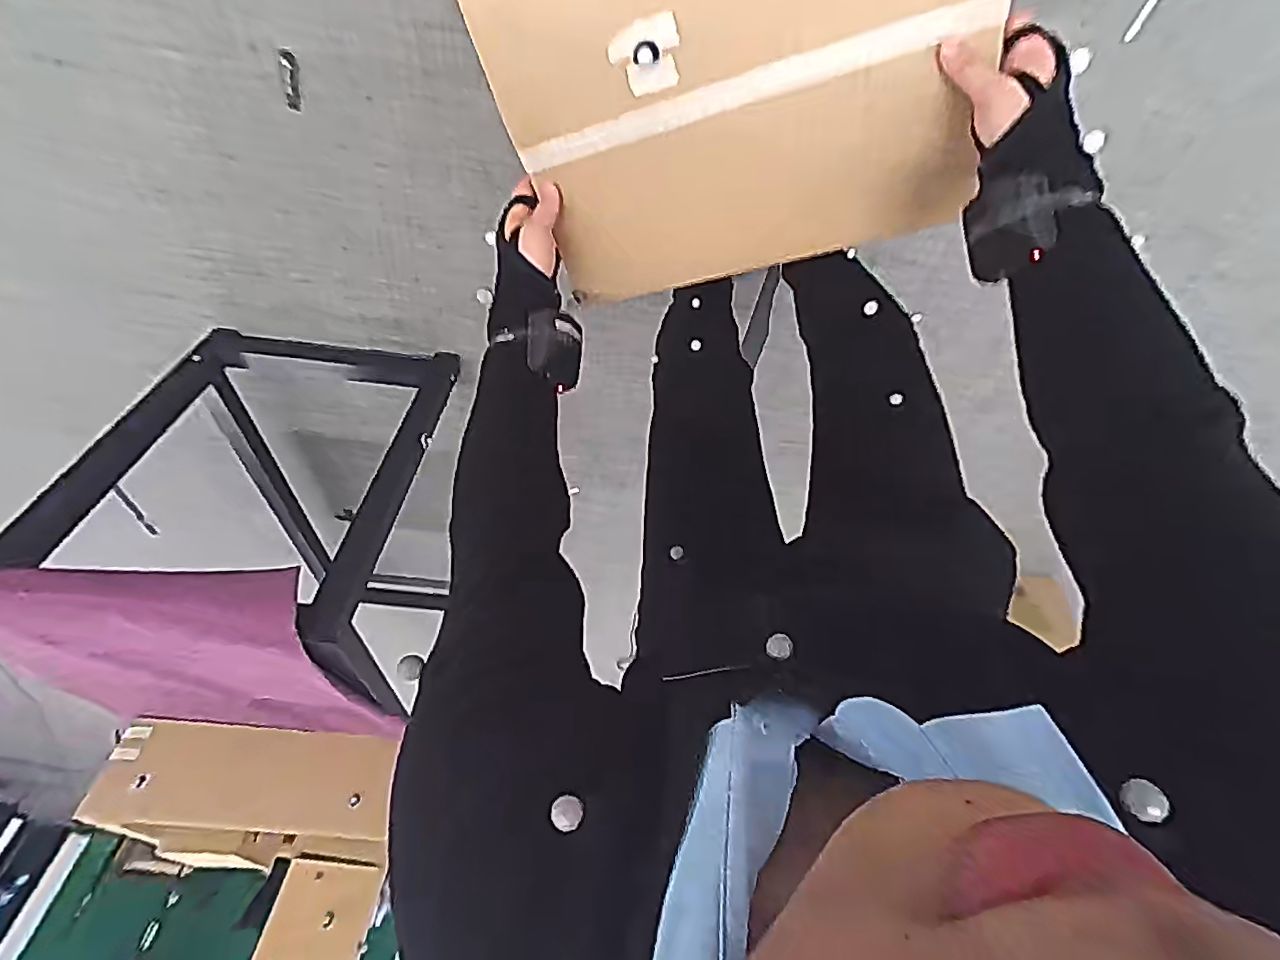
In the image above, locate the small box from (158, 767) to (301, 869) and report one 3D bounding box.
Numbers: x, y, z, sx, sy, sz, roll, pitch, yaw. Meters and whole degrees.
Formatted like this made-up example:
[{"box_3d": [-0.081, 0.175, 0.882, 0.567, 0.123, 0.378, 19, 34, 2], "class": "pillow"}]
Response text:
[{"box_3d": [-0.911, 0.764, 1.222, 0.168, 0.176, 0.179, 4, 137, -2], "class": "small box"}]
